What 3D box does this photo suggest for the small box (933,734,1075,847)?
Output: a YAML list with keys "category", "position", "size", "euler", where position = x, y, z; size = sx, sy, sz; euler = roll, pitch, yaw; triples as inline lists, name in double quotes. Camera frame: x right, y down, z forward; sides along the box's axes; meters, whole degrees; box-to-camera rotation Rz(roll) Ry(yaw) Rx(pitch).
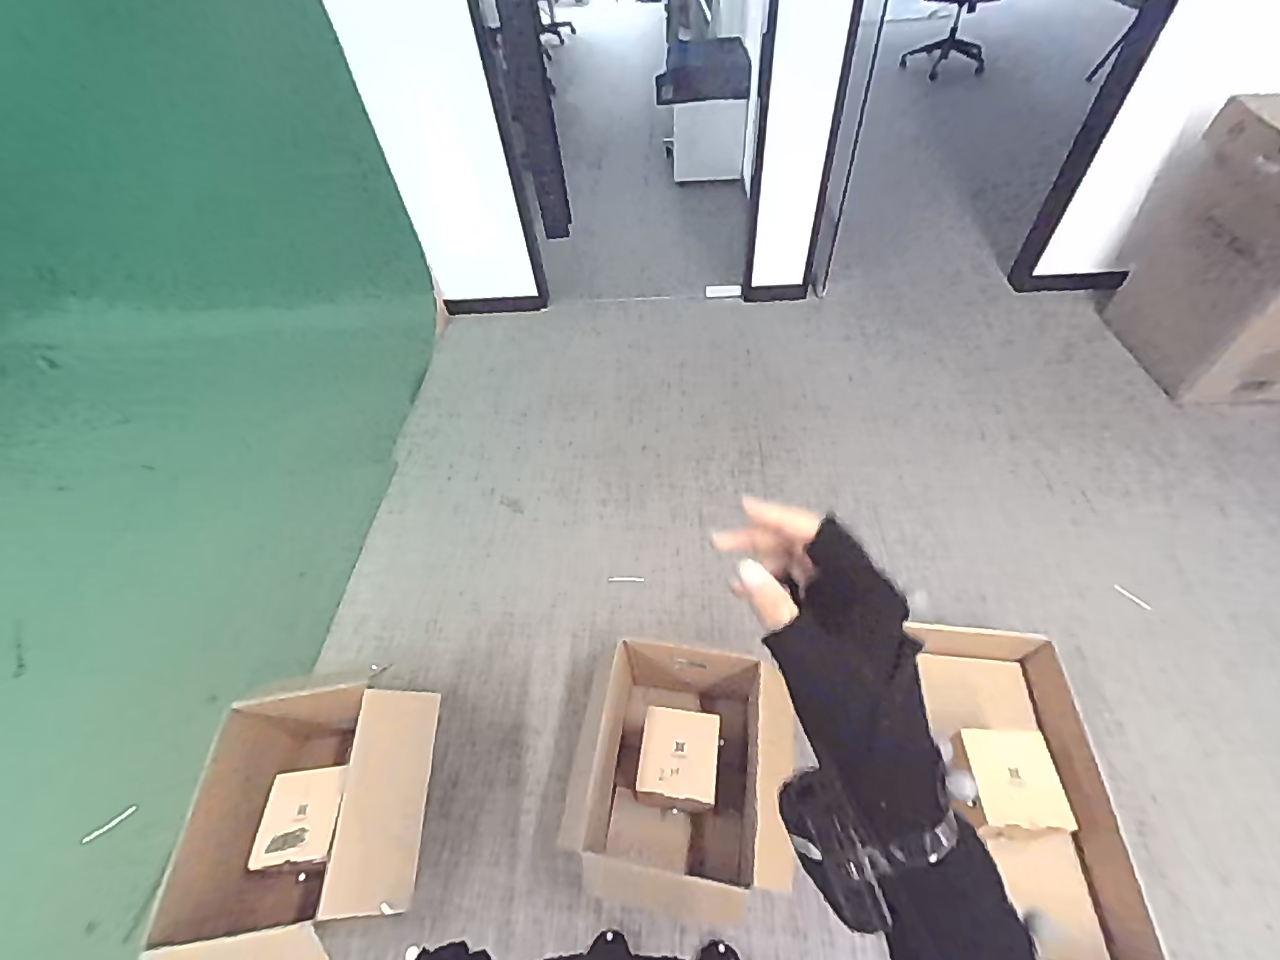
- category: "small box"
  position: [0.743, 0.649, 1.131]
  size: [0.168, 0.176, 0.179]
  euler: [0, 51, 4]
